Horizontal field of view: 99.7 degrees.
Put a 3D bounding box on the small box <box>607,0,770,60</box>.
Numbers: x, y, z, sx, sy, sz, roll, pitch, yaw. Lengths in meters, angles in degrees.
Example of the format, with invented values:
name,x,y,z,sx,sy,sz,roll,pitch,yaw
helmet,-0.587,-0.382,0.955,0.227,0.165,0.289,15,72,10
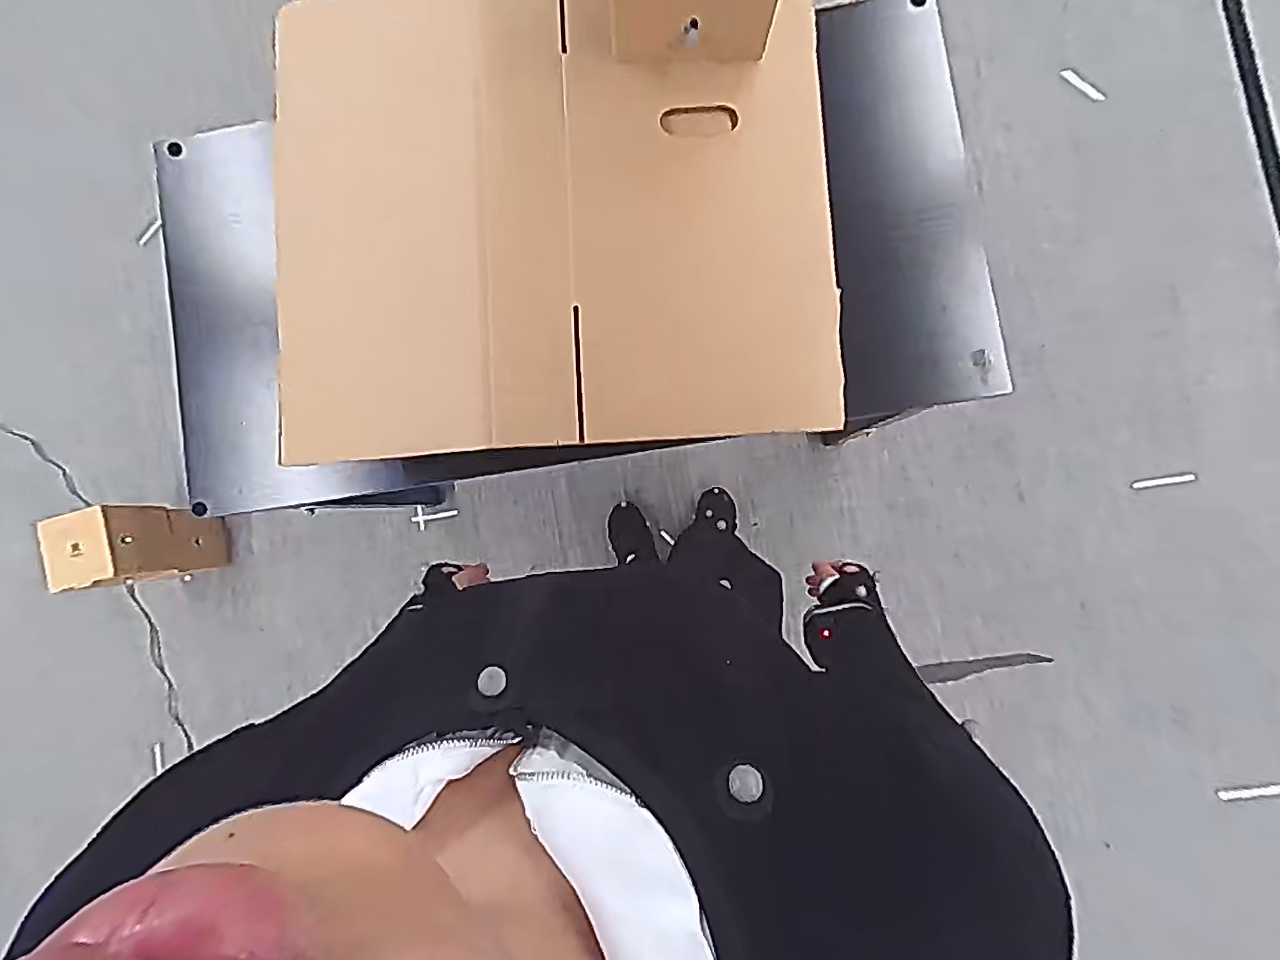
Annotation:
name,x,y,z,sx,sy,sz,roll,pitch,yaw
small box,0.052,-0.575,0.557,0.179,0.176,0.168,-2,84,-1

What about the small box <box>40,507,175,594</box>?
name,x,y,z,sx,sy,sz,roll,pitch,yaw
small box,-1.309,0.168,1.342,0.168,0.176,0.179,-15,85,2

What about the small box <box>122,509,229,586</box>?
name,x,y,z,sx,sy,sz,roll,pitch,yaw
small box,-1.296,0.184,1.504,0.168,0.176,0.179,-13,87,3
